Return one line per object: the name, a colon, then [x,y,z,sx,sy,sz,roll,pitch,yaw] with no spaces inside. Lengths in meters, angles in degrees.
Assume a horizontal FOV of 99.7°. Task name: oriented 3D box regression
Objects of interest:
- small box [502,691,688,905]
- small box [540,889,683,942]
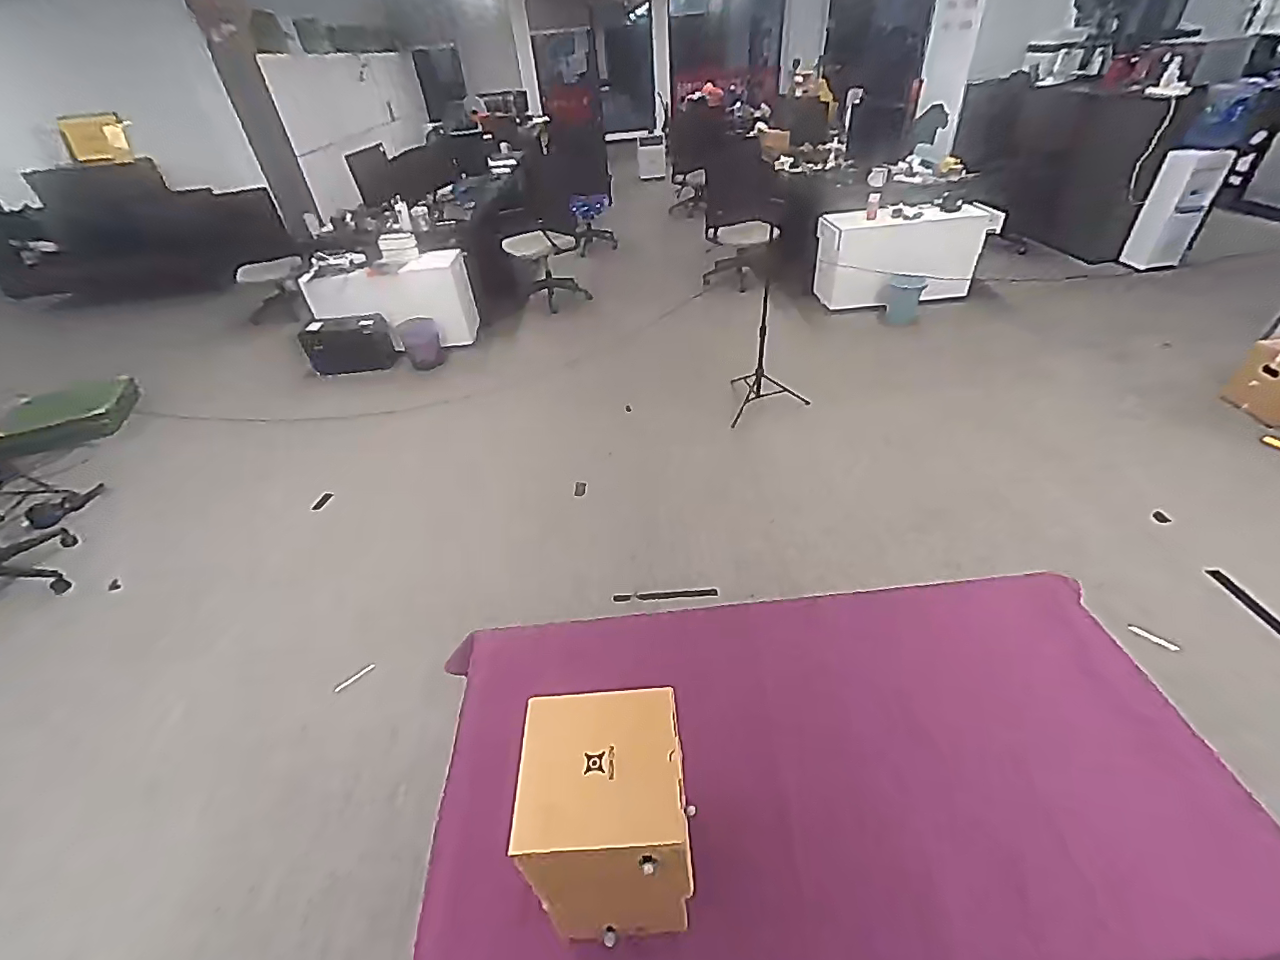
small box: [-0.041,0.368,0.625,0.179,0.176,0.168,-5,39,2]
small box: [-0.031,0.490,0.732,0.168,0.176,0.179,-5,40,2]
